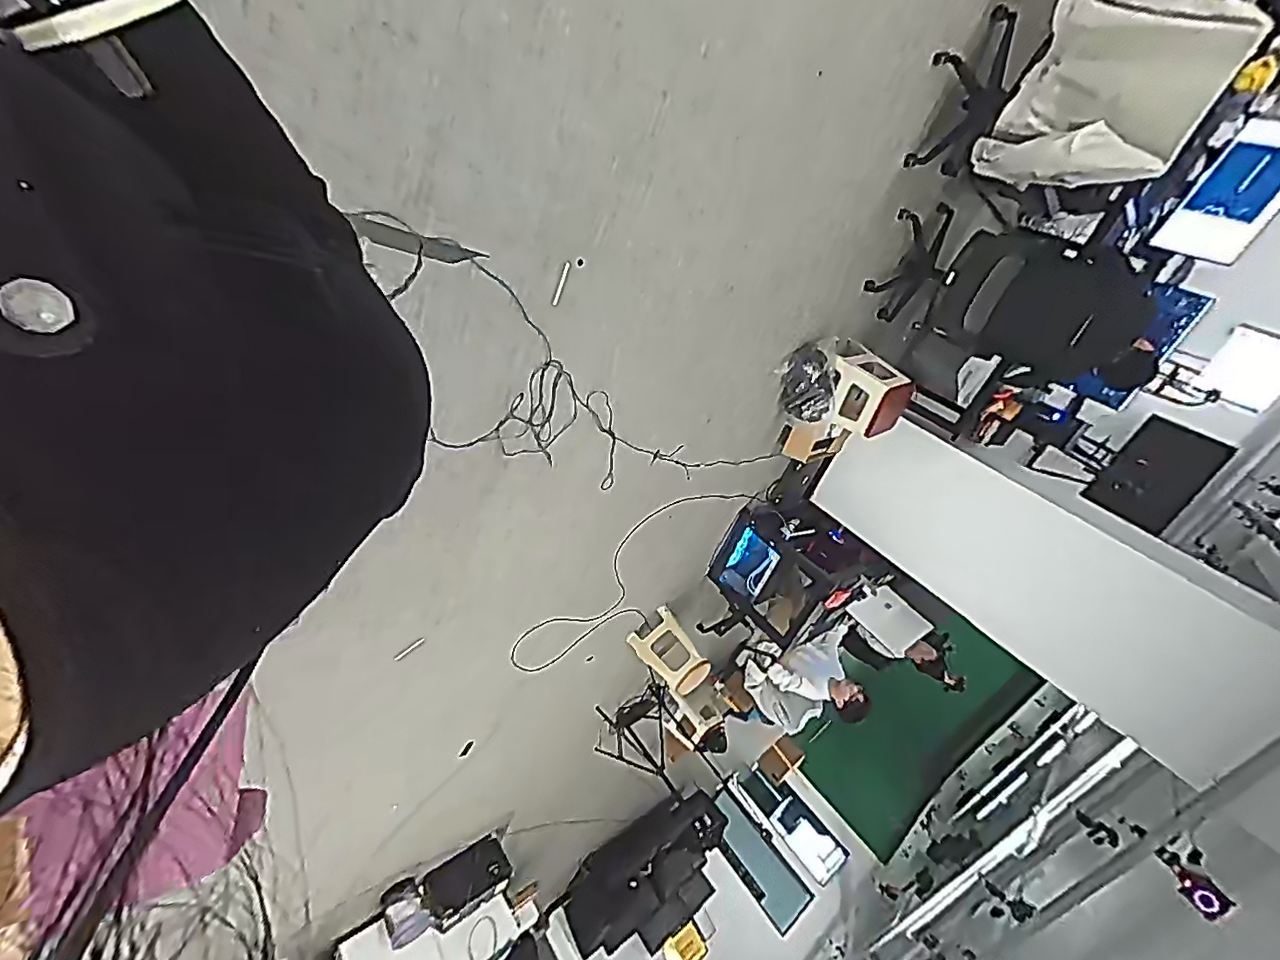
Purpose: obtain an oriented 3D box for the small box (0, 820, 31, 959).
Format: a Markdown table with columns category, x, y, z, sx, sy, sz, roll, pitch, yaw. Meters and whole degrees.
| category | x | y | z | sx | sy | sz | roll | pitch | yaw |
| --- | --- | --- | --- | --- | --- | --- | --- | --- | --- |
| small box | -0.955 | 0.613 | 0.733 | 0.168 | 0.176 | 0.179 | -2 | 125 | -47 |
